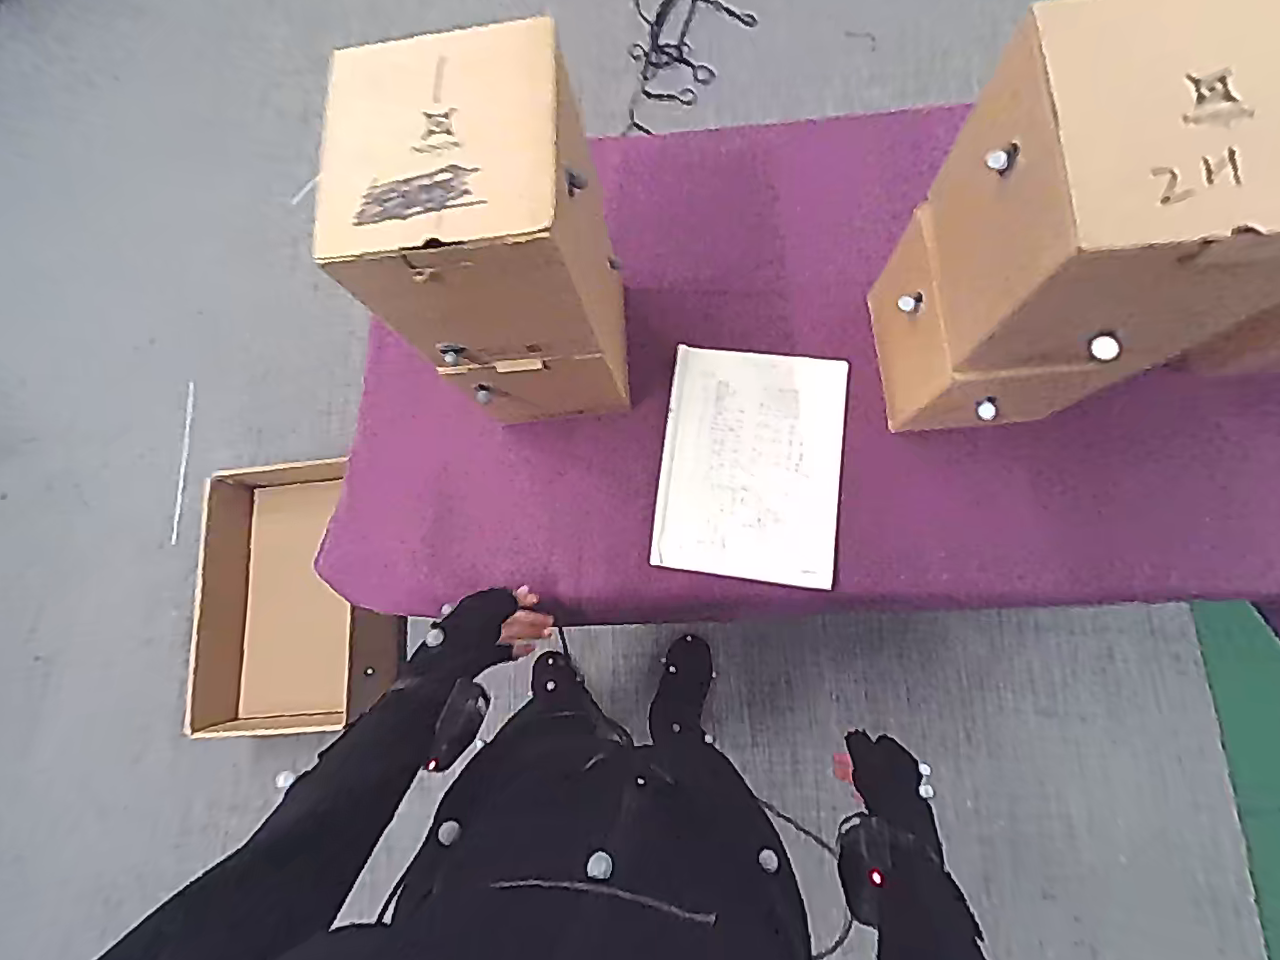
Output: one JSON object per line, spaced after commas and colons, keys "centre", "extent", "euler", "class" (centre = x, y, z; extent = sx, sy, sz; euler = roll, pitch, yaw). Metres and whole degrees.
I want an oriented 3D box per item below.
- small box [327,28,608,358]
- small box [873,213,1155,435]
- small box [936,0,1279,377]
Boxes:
{"centre": [-0.121, -0.212, 0.447], "extent": [0.168, 0.176, 0.179], "euler": [-3, 76, 6], "class": "small box"}
{"centre": [0.352, -0.150, 0.549], "extent": [0.168, 0.176, 0.179], "euler": [-4, 77, 6], "class": "small box"}
{"centre": [0.335, -0.190, 0.389], "extent": [0.168, 0.176, 0.179], "euler": [-1, 78, 7], "class": "small box"}
